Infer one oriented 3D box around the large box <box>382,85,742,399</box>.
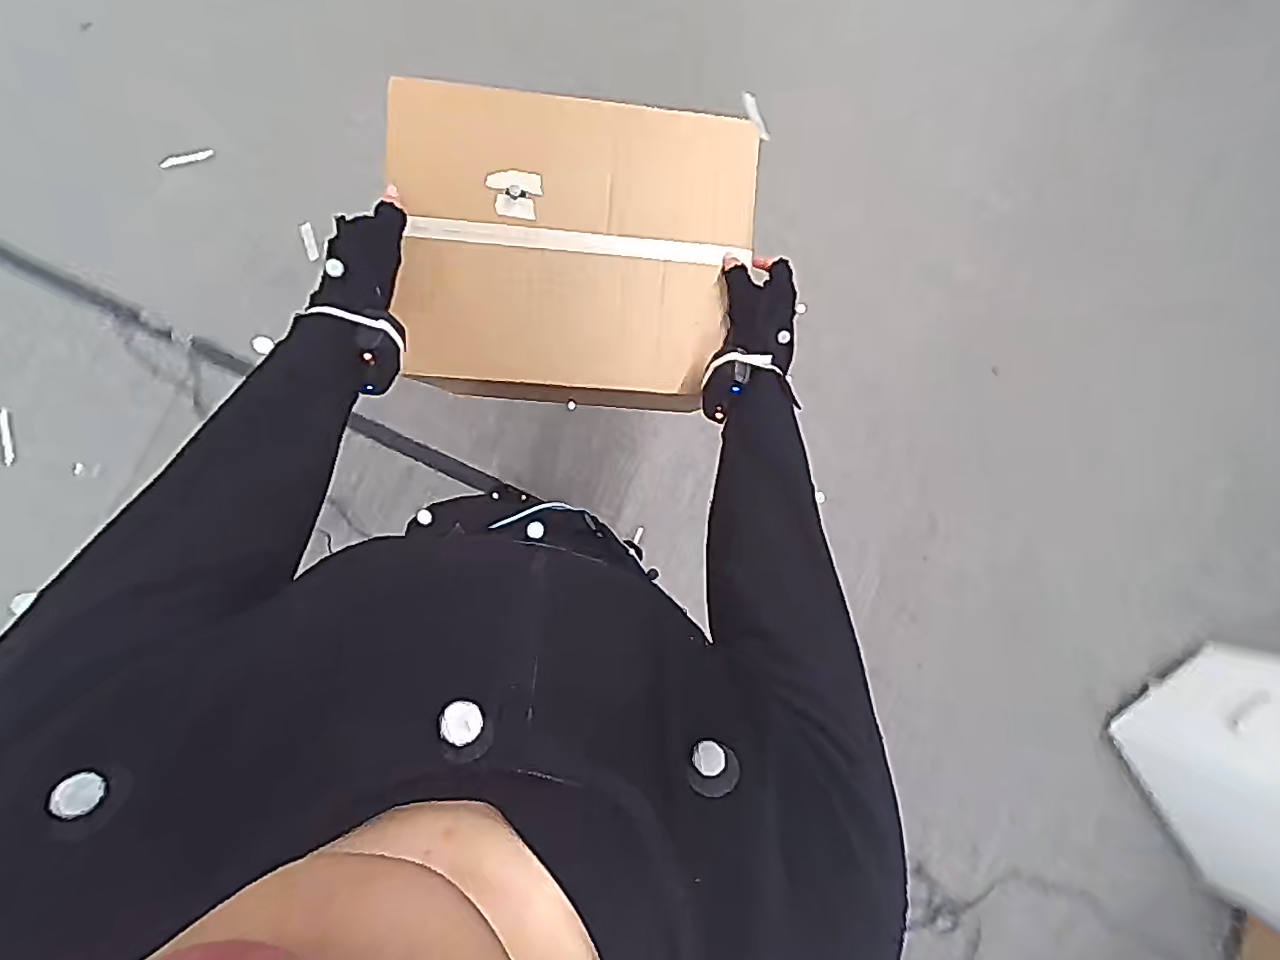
[{"bbox_3d":[-0.095,-0.281,0.756,0.408,0.320,0.320,2,93,-5],"label":"large box"}]
